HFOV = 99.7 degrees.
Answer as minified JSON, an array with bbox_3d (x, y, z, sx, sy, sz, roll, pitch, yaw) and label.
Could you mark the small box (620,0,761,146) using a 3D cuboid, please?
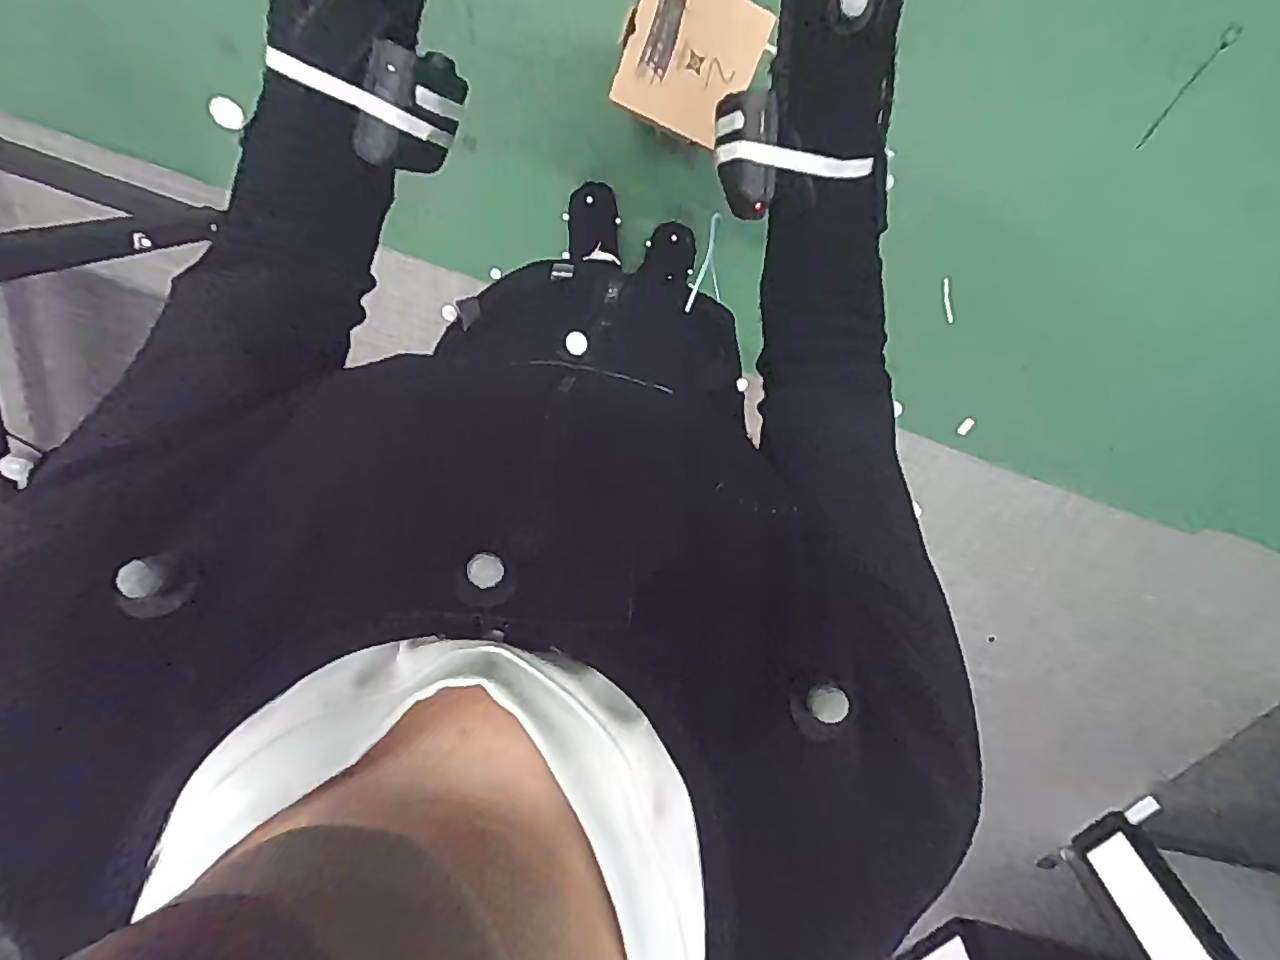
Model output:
[{"bbox_3d":[0.078,-0.695,0.919,0.179,0.176,0.168,20,120,-11],"label":"small box"}]
